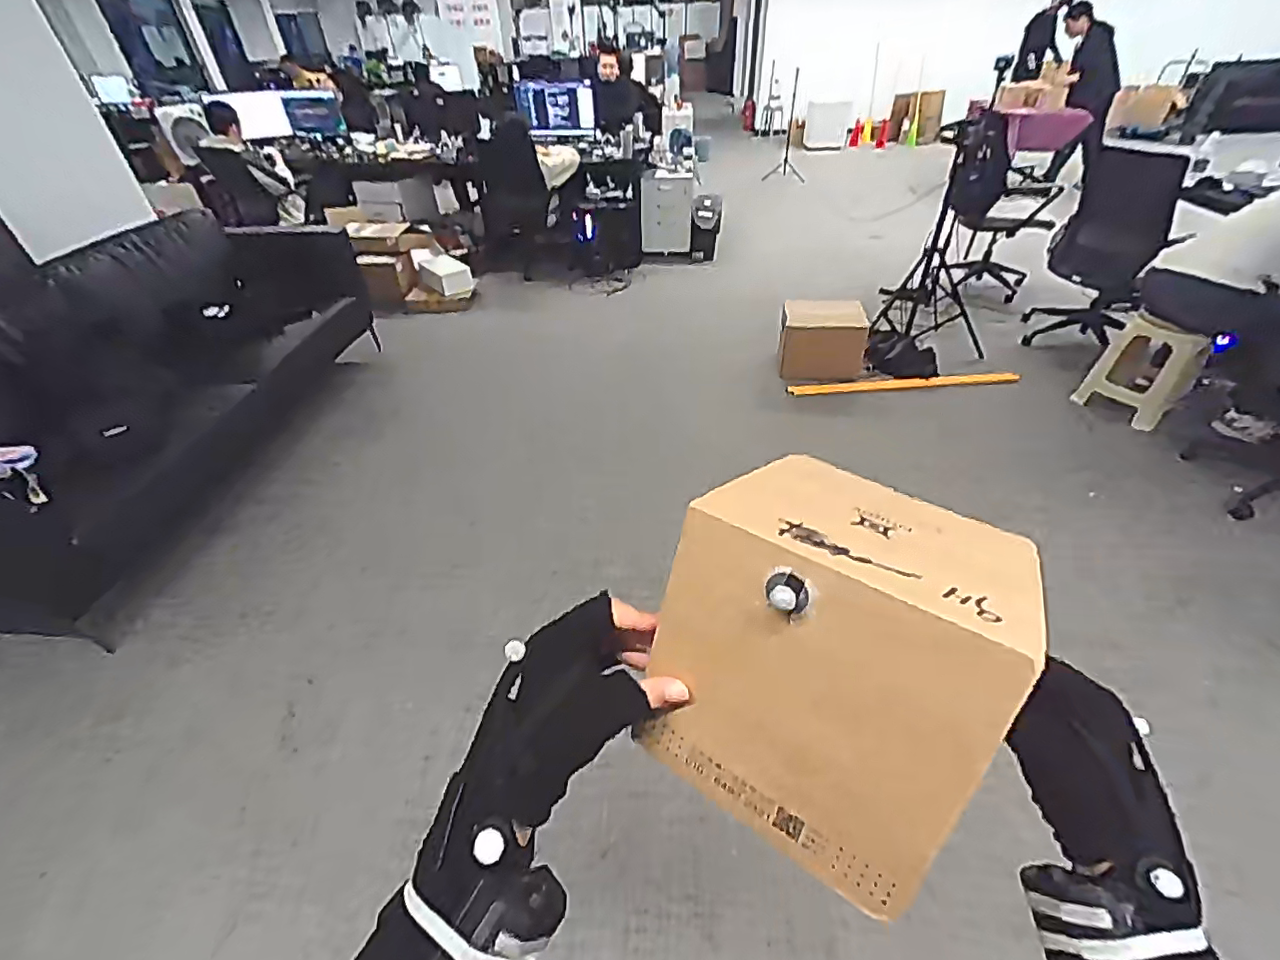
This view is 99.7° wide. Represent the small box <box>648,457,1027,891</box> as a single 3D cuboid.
[{"bbox_3d":[0.124,0.100,0.356,0.168,0.176,0.179,24,23,29],"label":"small box"}]
